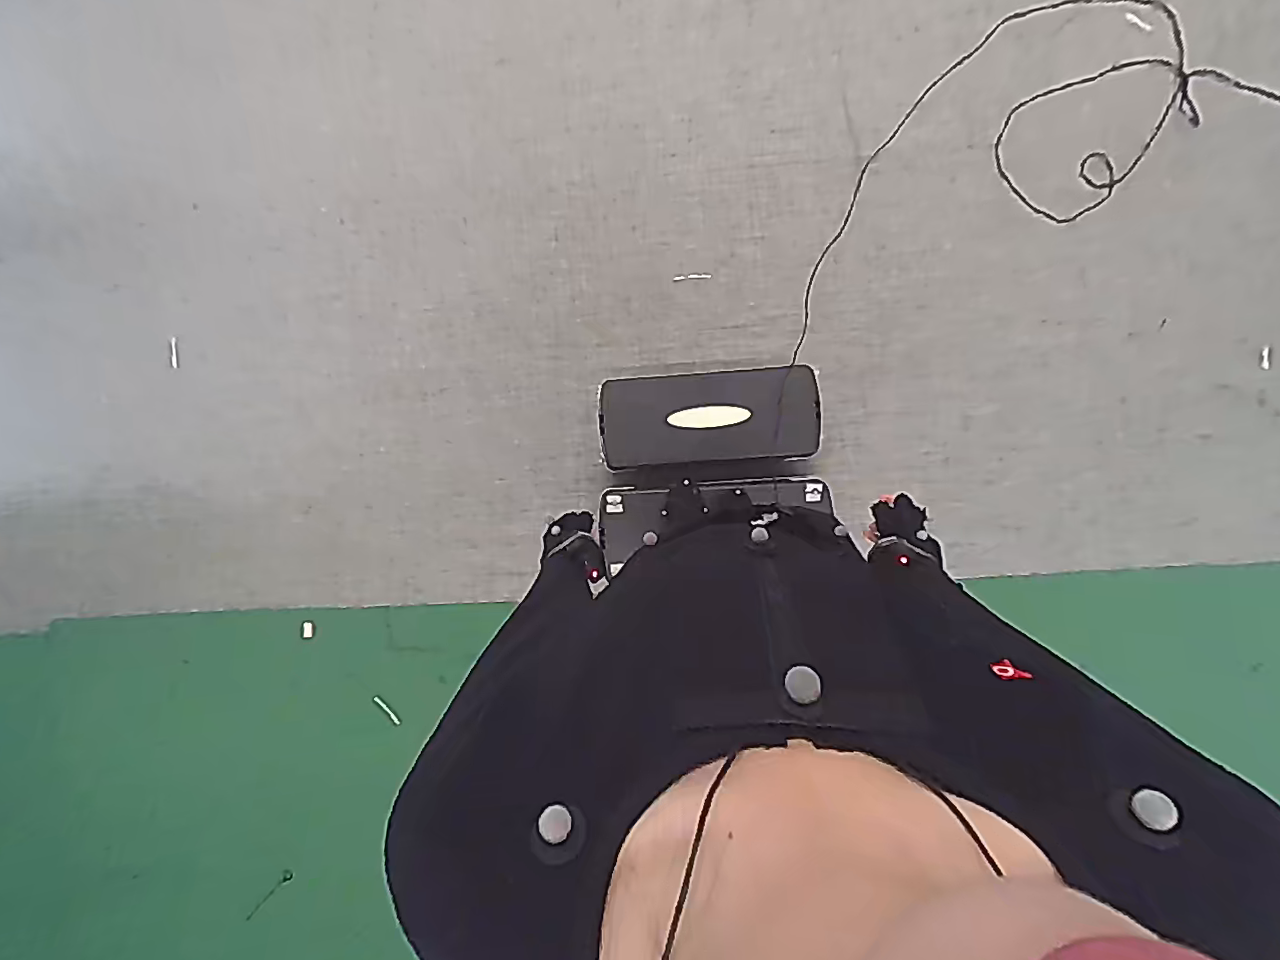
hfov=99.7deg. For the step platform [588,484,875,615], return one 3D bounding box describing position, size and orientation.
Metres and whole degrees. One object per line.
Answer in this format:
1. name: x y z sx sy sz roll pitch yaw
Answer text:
1. step platform: 0.218 0.172 1.388 0.684 0.204 0.286 -4 88 2
